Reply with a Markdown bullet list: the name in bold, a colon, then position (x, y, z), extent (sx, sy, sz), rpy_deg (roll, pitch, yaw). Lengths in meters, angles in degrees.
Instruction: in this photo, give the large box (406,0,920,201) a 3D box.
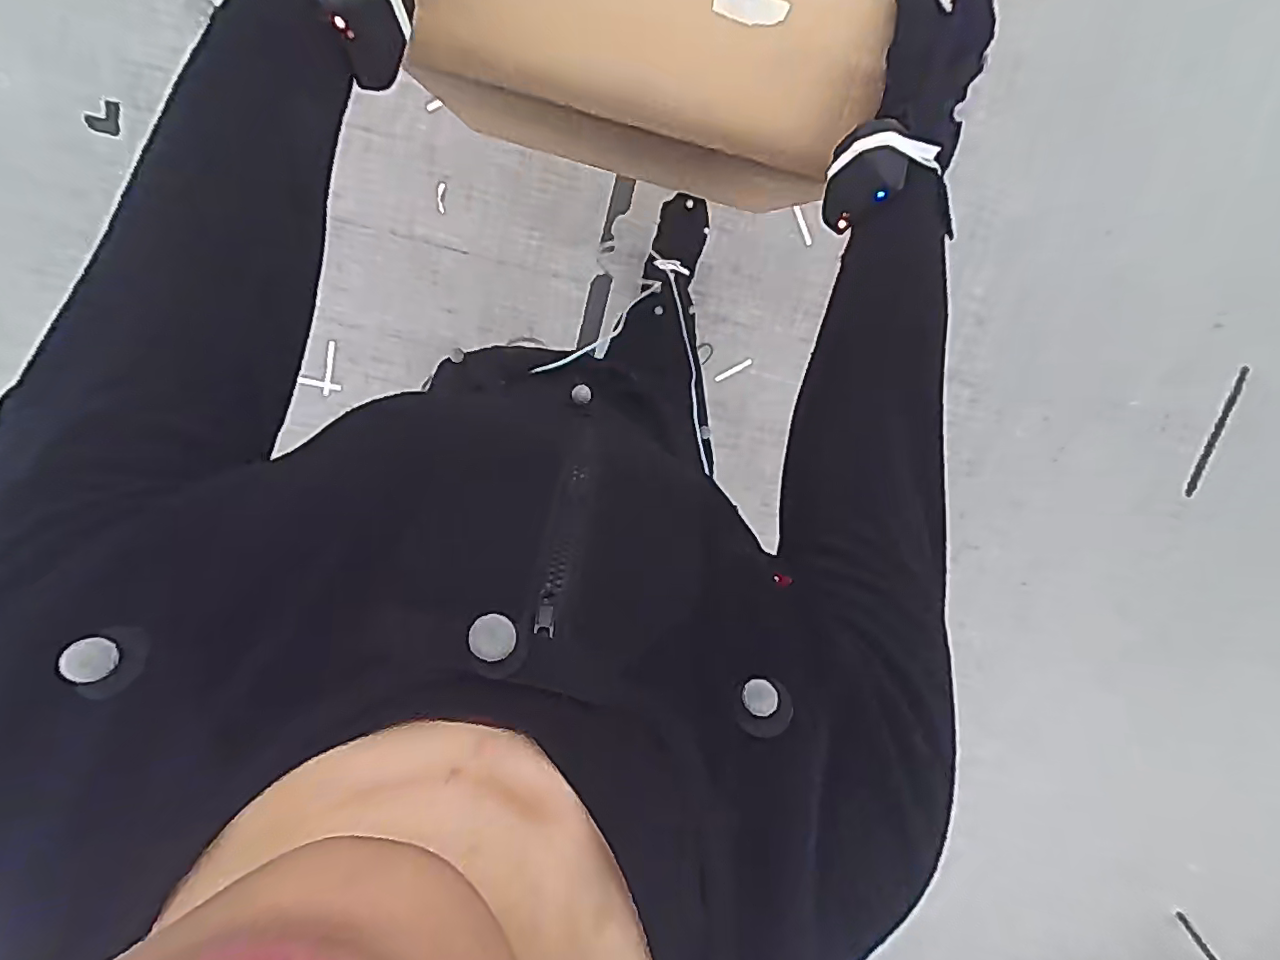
- **large box**: position (0.028, -0.502, 0.535), extent (0.408, 0.320, 0.320), rpy_deg (11, 113, -9)
